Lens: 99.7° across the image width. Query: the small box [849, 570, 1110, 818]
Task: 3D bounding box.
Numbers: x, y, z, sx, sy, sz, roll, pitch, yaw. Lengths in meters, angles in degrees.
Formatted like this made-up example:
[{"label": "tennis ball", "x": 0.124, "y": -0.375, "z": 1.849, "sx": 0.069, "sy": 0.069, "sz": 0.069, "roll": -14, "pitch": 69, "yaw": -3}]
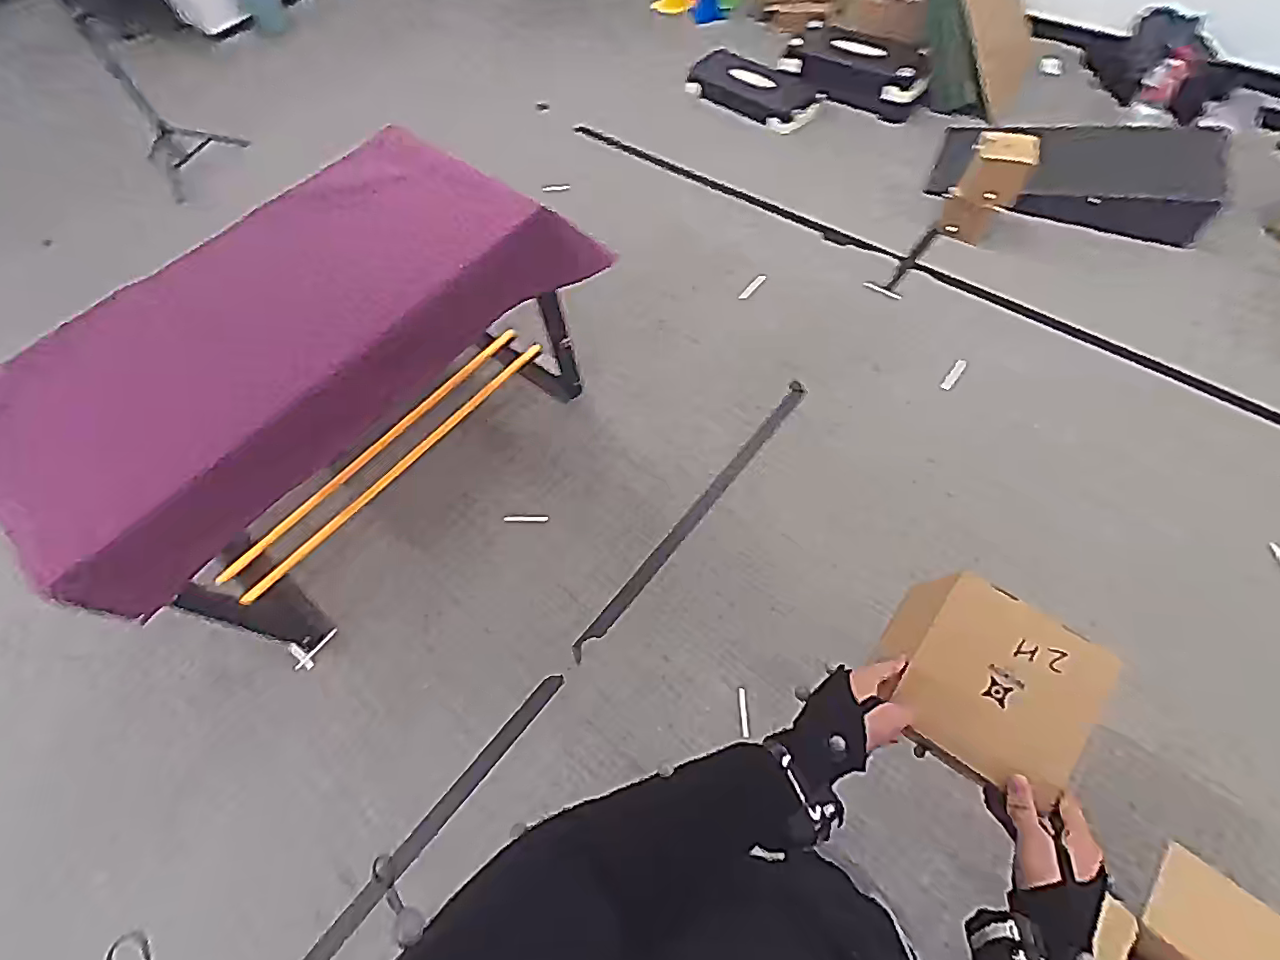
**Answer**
[{"label": "small box", "x": 0.358, "y": 0.229, "z": 0.612, "sx": 0.168, "sy": 0.176, "sz": 0.179, "roll": 32, "pitch": 79, "yaw": 15}]
